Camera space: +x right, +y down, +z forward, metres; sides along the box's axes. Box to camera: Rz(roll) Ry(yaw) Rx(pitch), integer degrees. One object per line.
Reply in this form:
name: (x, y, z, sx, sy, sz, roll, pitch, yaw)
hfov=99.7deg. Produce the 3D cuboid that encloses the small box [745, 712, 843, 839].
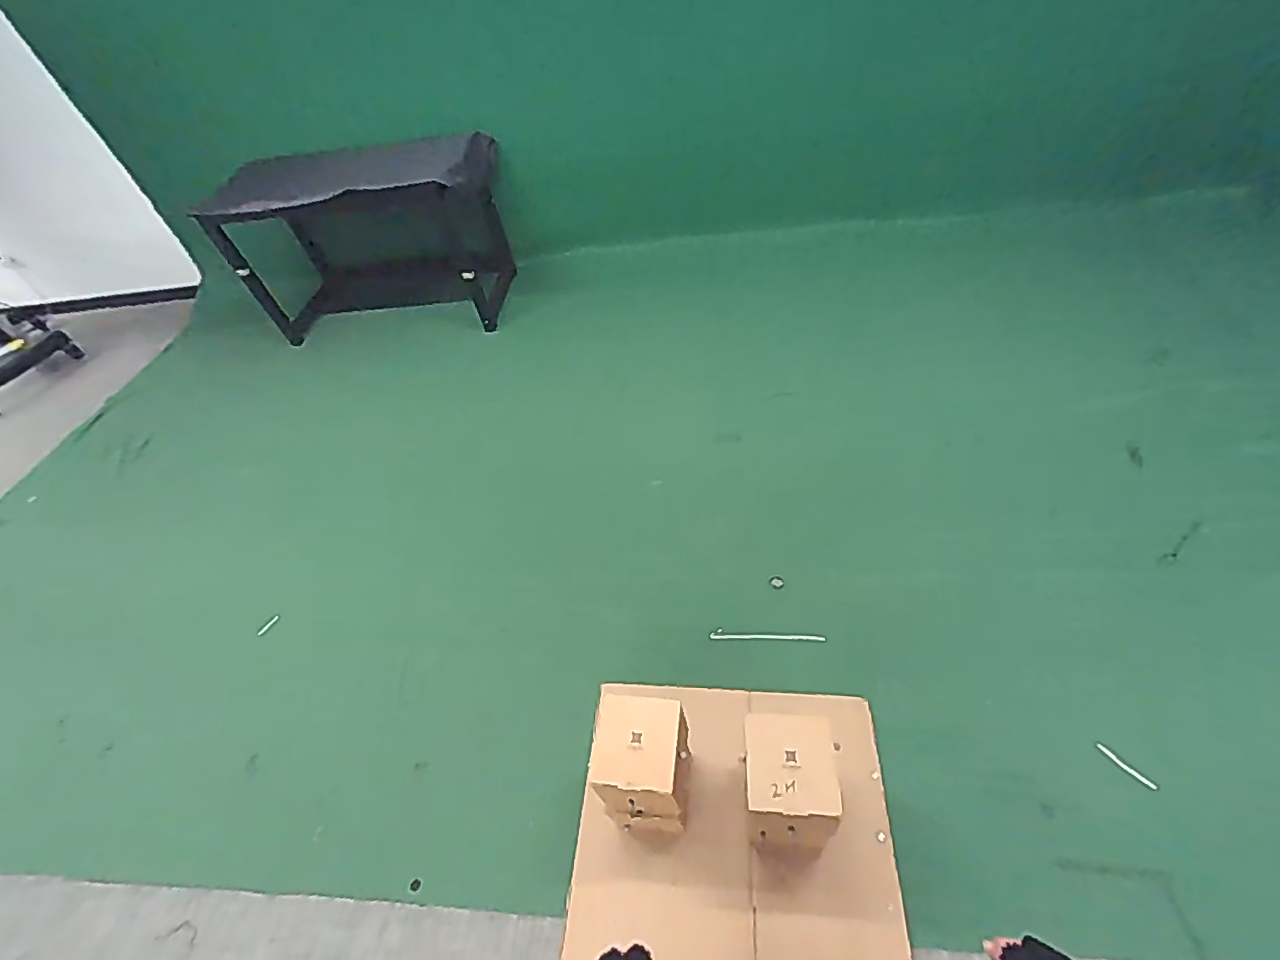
small box: (0.292, 0.581, 1.064, 0.168, 0.176, 0.179, -2, 47, 10)

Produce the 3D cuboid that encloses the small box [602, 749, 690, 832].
small box: (0.022, 0.689, 1.241, 0.168, 0.176, 0.179, 0, 47, 12)

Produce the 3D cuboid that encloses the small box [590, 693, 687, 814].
small box: (0.005, 0.571, 1.130, 0.168, 0.176, 0.179, 1, 49, 12)
